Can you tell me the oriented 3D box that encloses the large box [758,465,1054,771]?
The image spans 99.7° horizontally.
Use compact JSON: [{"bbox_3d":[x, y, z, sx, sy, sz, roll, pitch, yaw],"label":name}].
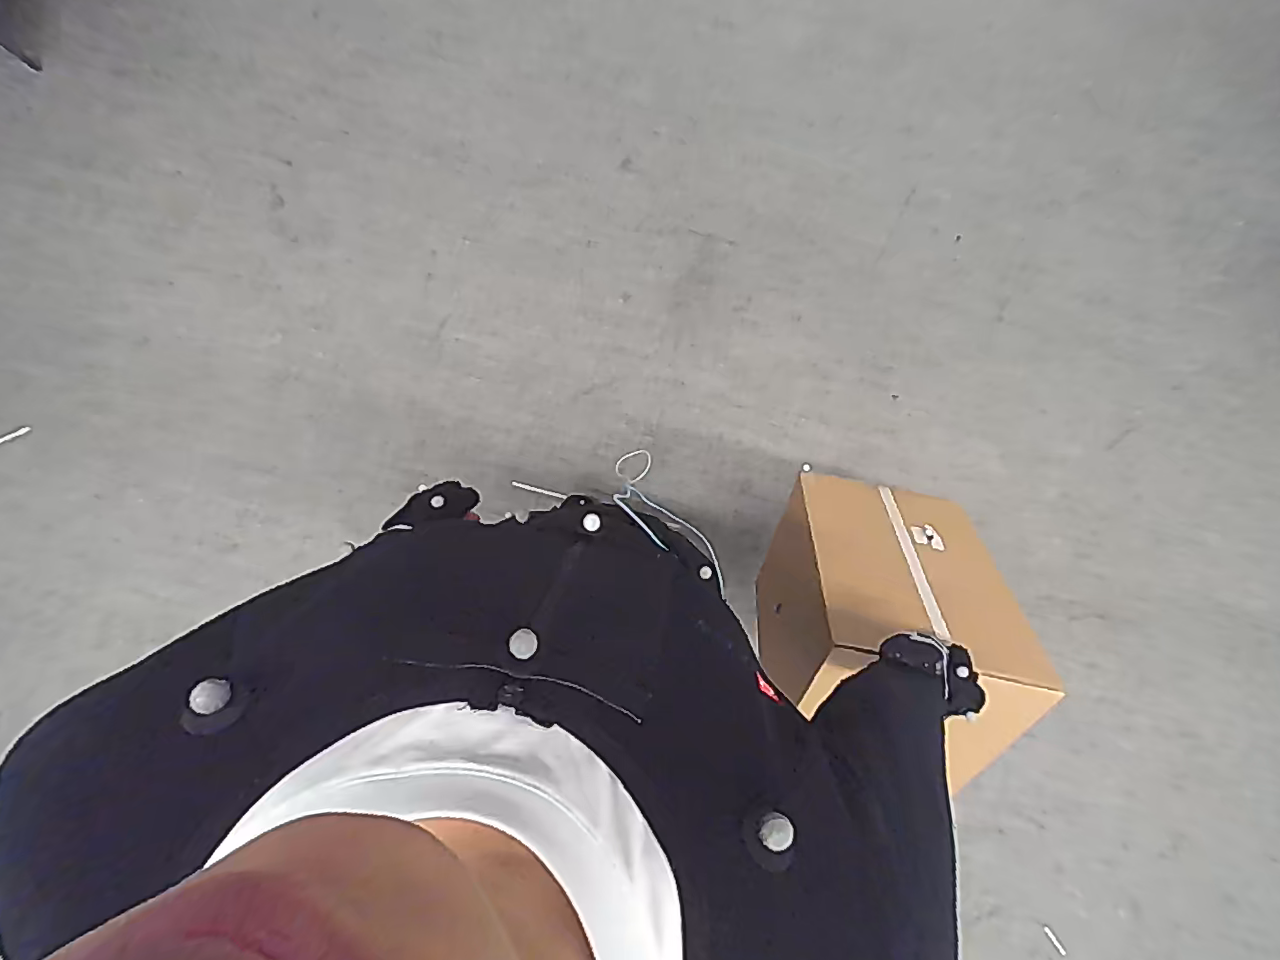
[{"bbox_3d":[0.408,0.232,0.968,0.320,0.408,0.320,12,127,0],"label":"large box"}]
